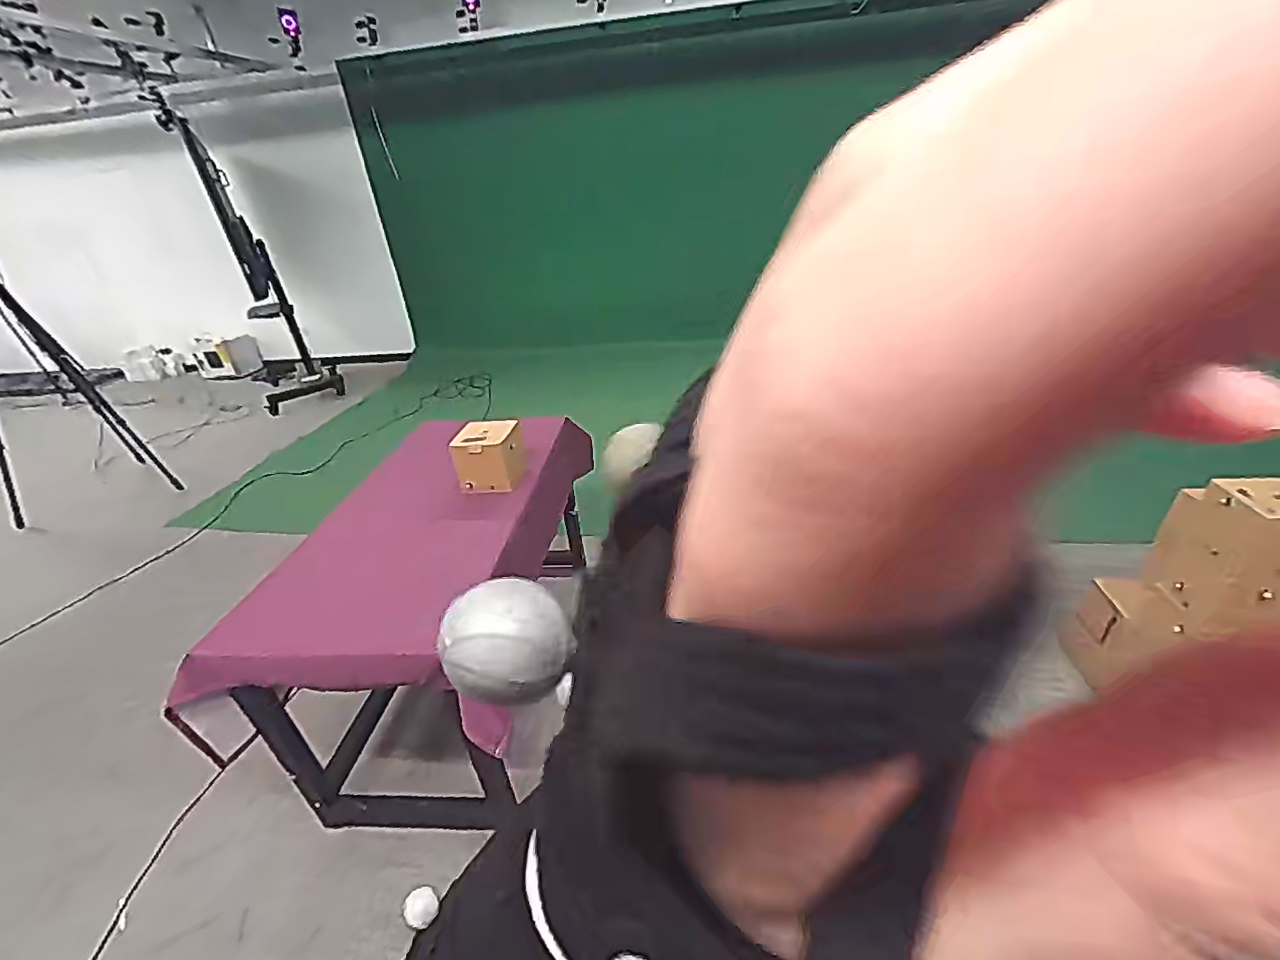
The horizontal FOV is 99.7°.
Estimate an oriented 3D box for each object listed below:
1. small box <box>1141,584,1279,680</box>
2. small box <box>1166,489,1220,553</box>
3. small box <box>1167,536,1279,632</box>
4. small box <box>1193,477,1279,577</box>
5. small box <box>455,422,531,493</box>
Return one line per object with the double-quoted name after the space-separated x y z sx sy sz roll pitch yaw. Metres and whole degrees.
1.464 0.391 1.394 0.168 0.176 0.179 1 31 10 "small box"
1.624 0.138 1.485 0.168 0.176 0.179 1 29 6 "small box"
1.456 0.251 1.312 0.179 0.176 0.168 0 31 11 "small box"
1.440 0.110 1.228 0.179 0.176 0.168 1 31 10 "small box"
-0.454 -0.069 1.707 0.168 0.176 0.179 -1 30 8 "small box"
